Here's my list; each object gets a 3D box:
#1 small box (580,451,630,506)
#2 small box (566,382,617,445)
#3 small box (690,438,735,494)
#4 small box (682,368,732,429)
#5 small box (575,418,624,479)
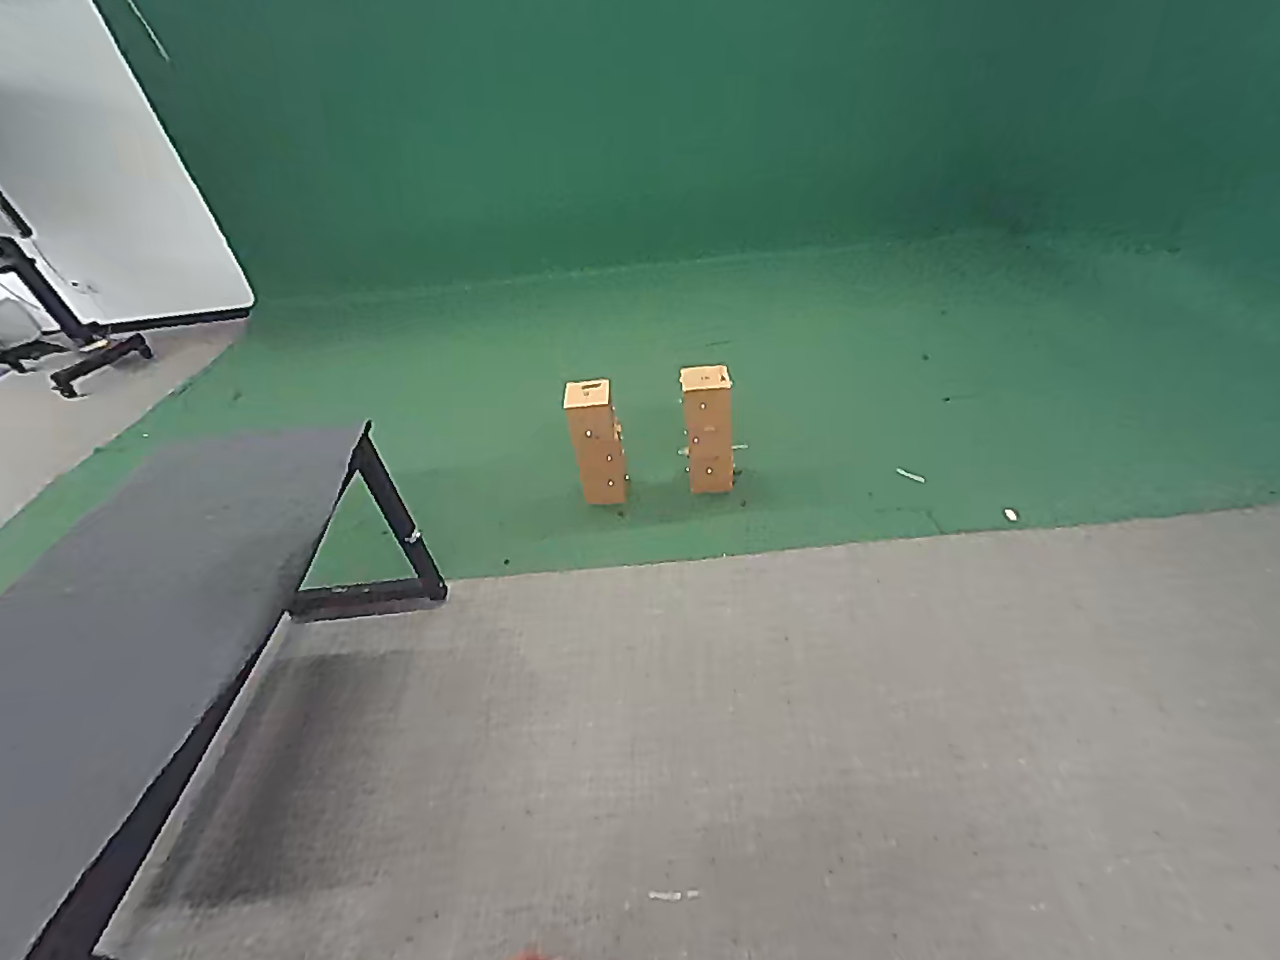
[{"bbox_3d":[-0.140,-0.006,2.264,0.179,0.176,0.168,-2,39,7],"label":"small box"},{"bbox_3d":[-0.181,-0.252,2.052,0.168,0.176,0.179,-5,40,3],"label":"small box"},{"bbox_3d":[0.300,-0.055,2.255,0.179,0.176,0.168,-3,40,6],"label":"small box"},{"bbox_3d":[0.254,-0.306,2.048,0.179,0.176,0.168,-5,39,5],"label":"small box"},{"bbox_3d":[-0.158,-0.123,2.152,0.179,0.176,0.168,-8,39,1],"label":"small box"}]
